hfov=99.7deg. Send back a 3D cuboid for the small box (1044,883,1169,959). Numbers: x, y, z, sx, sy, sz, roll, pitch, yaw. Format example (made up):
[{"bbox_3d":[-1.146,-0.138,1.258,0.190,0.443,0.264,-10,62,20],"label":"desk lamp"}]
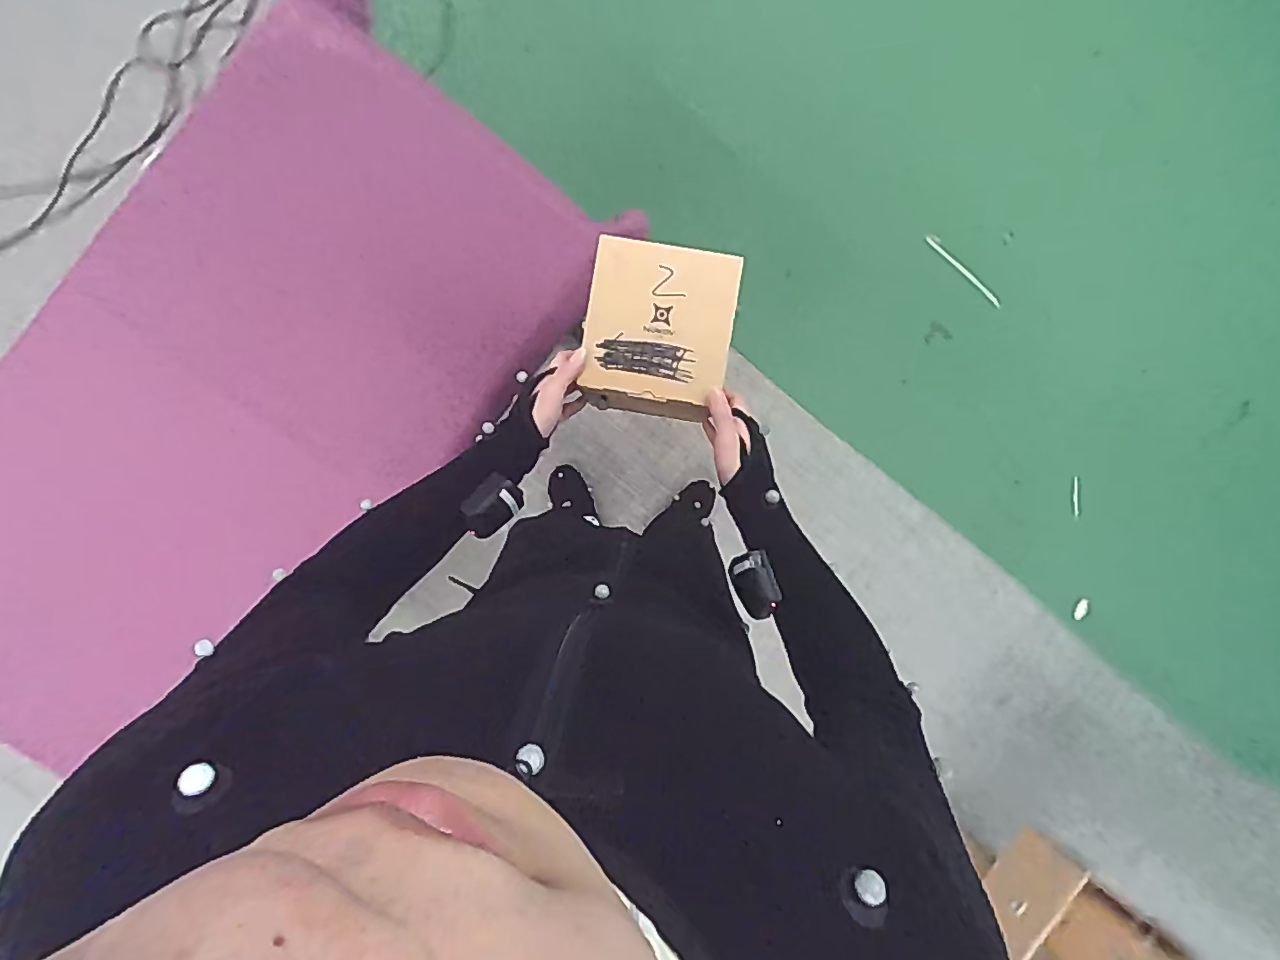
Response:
[{"bbox_3d":[1.139,1.127,1.297,0.179,0.176,0.168,39,89,-6],"label":"small box"}]
